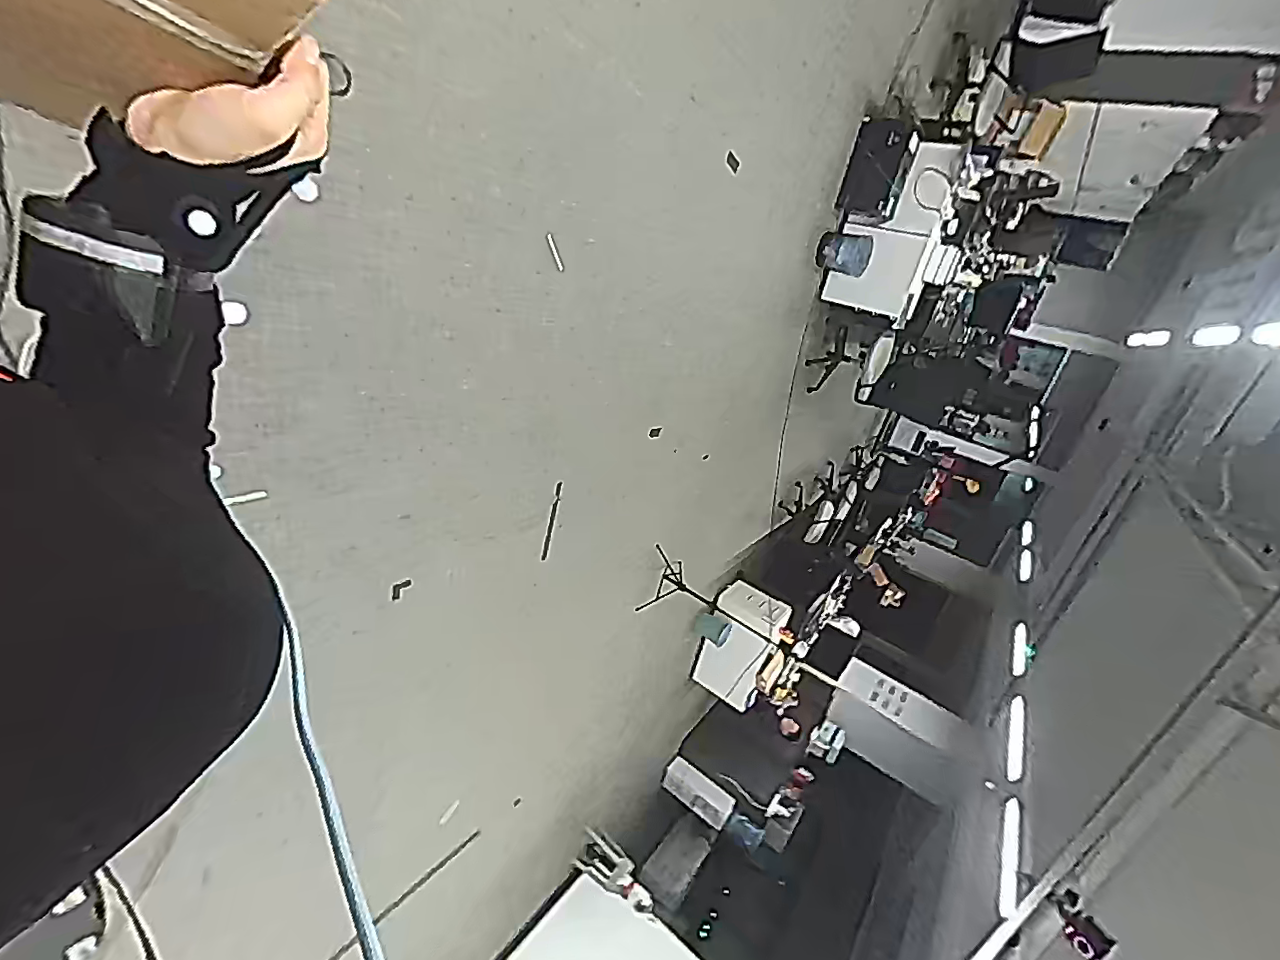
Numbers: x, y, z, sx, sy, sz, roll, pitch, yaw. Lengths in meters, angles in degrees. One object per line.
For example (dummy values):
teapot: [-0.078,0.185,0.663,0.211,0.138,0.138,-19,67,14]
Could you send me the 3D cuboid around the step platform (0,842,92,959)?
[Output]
step platform: [-1.526,1.044,1.026,0.684,0.204,0.286,-8,120,-55]
